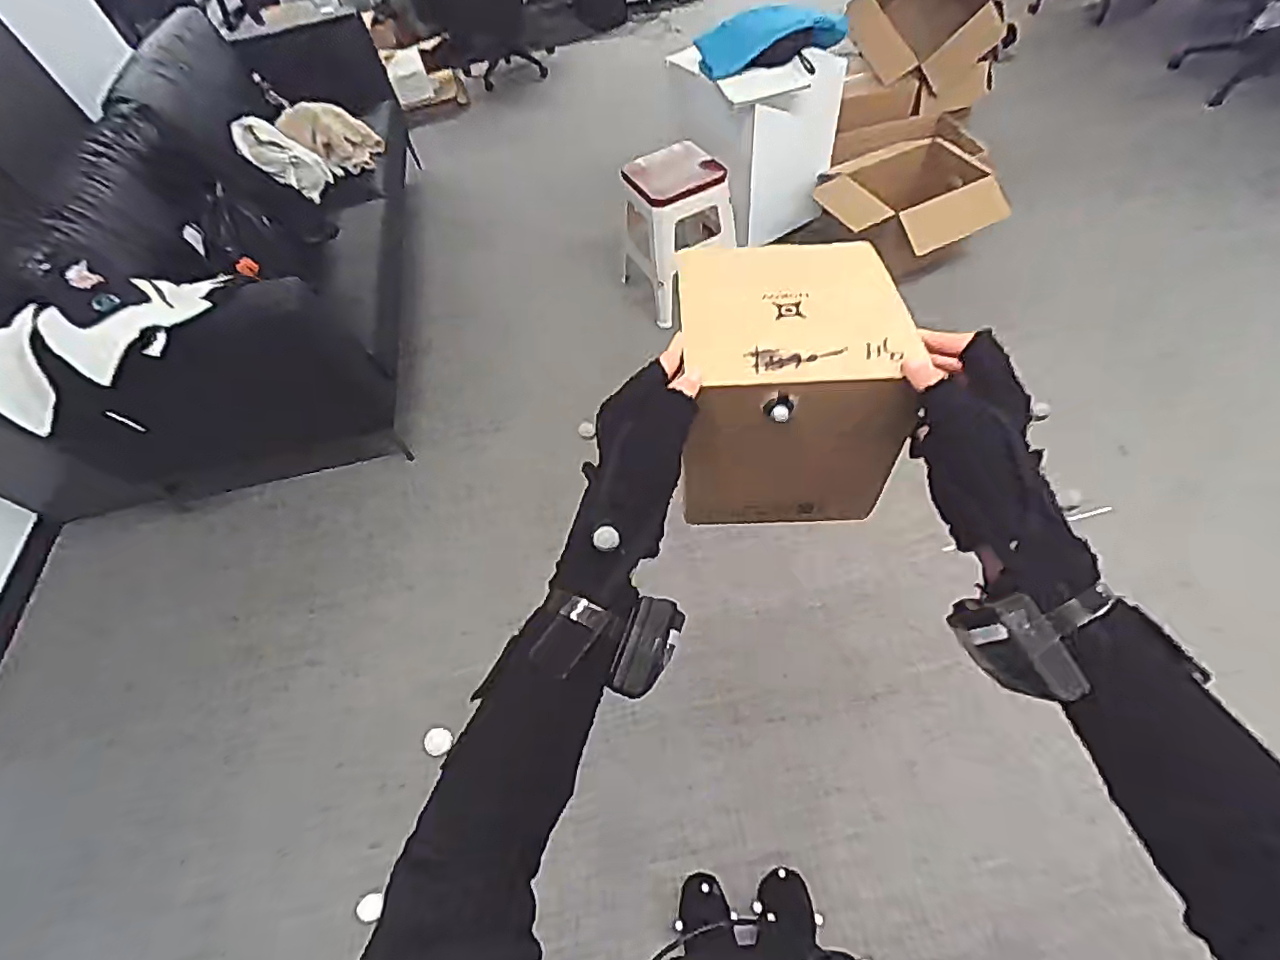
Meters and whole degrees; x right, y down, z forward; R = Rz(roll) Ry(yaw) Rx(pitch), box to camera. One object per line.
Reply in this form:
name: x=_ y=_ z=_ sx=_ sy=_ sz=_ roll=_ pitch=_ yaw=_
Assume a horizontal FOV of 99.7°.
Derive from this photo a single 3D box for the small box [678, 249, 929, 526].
small box: x=0.117 y=-0.078 z=0.474 sx=0.168 sy=0.176 sz=0.179 roll=-2 pitch=50 yaw=4
